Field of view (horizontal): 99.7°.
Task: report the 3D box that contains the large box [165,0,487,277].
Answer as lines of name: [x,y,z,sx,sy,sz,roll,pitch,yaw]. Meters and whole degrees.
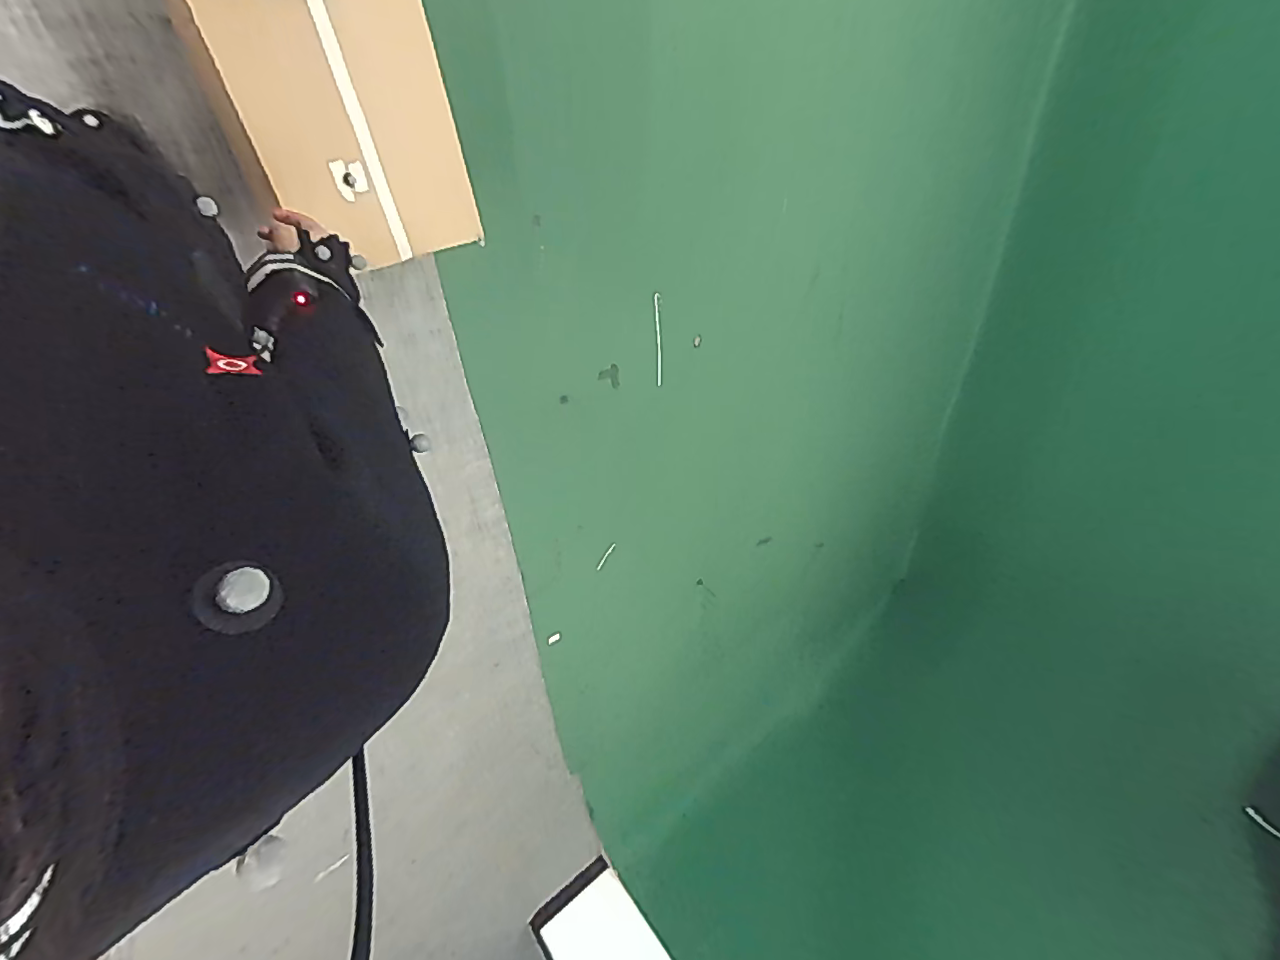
large box: [-0.527,-0.624,0.948,0.320,0.320,0.408,-29,132,-26]
